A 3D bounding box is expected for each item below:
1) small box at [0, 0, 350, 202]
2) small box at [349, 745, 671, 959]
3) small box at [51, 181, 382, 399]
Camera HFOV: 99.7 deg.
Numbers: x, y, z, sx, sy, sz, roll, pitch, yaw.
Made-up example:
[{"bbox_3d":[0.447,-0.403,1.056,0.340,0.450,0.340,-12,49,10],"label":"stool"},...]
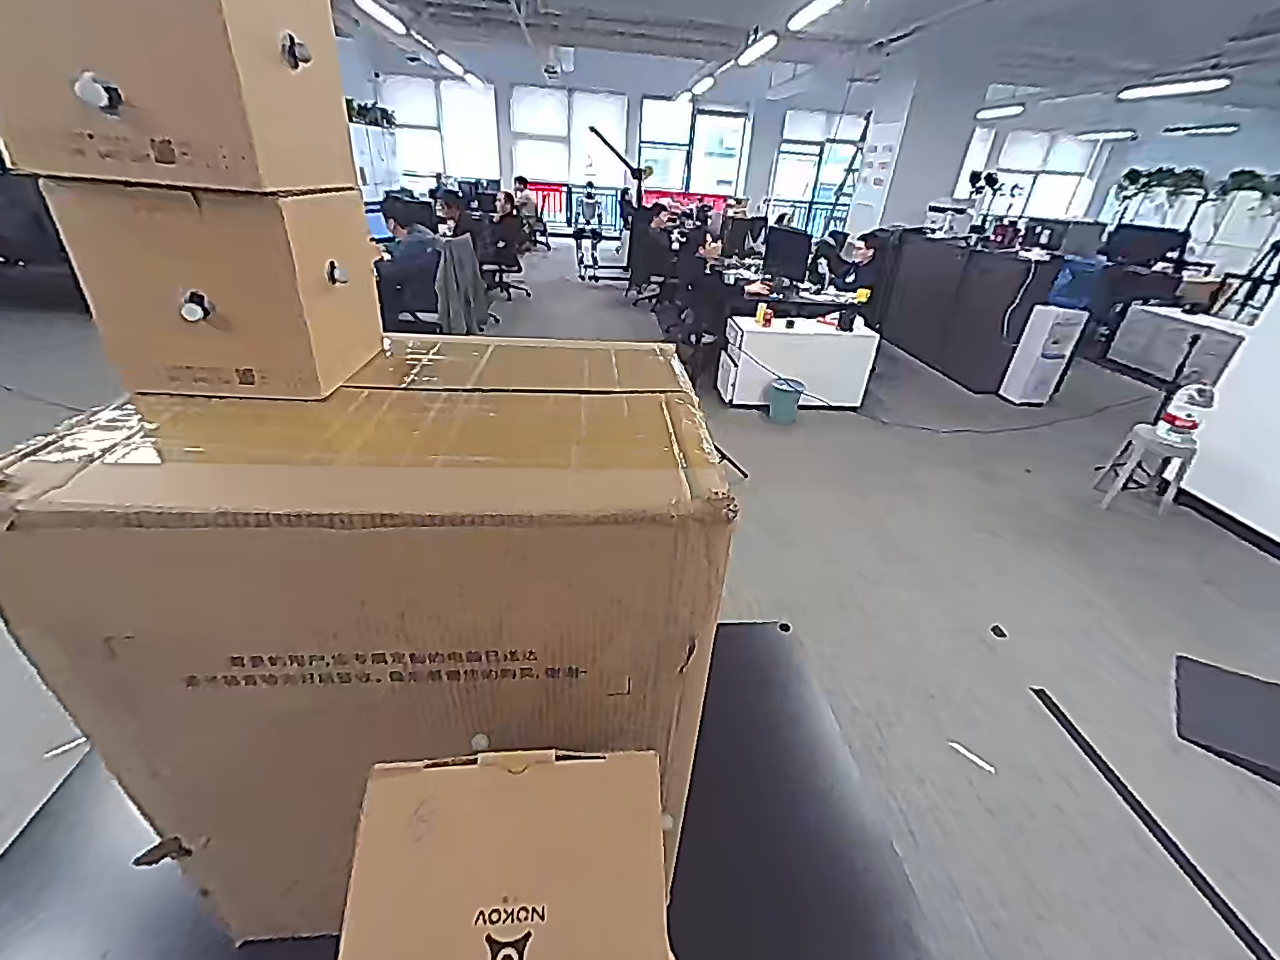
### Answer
[{"bbox_3d":[-0.347,-0.320,0.419,0.168,0.176,0.179,2,30,-5],"label":"small box"},{"bbox_3d":[-0.073,0.277,0.351,0.168,0.176,0.179,0,61,-5],"label":"small box"},{"bbox_3d":[-0.364,-0.185,0.514,0.168,0.176,0.179,1,30,-7],"label":"small box"}]
